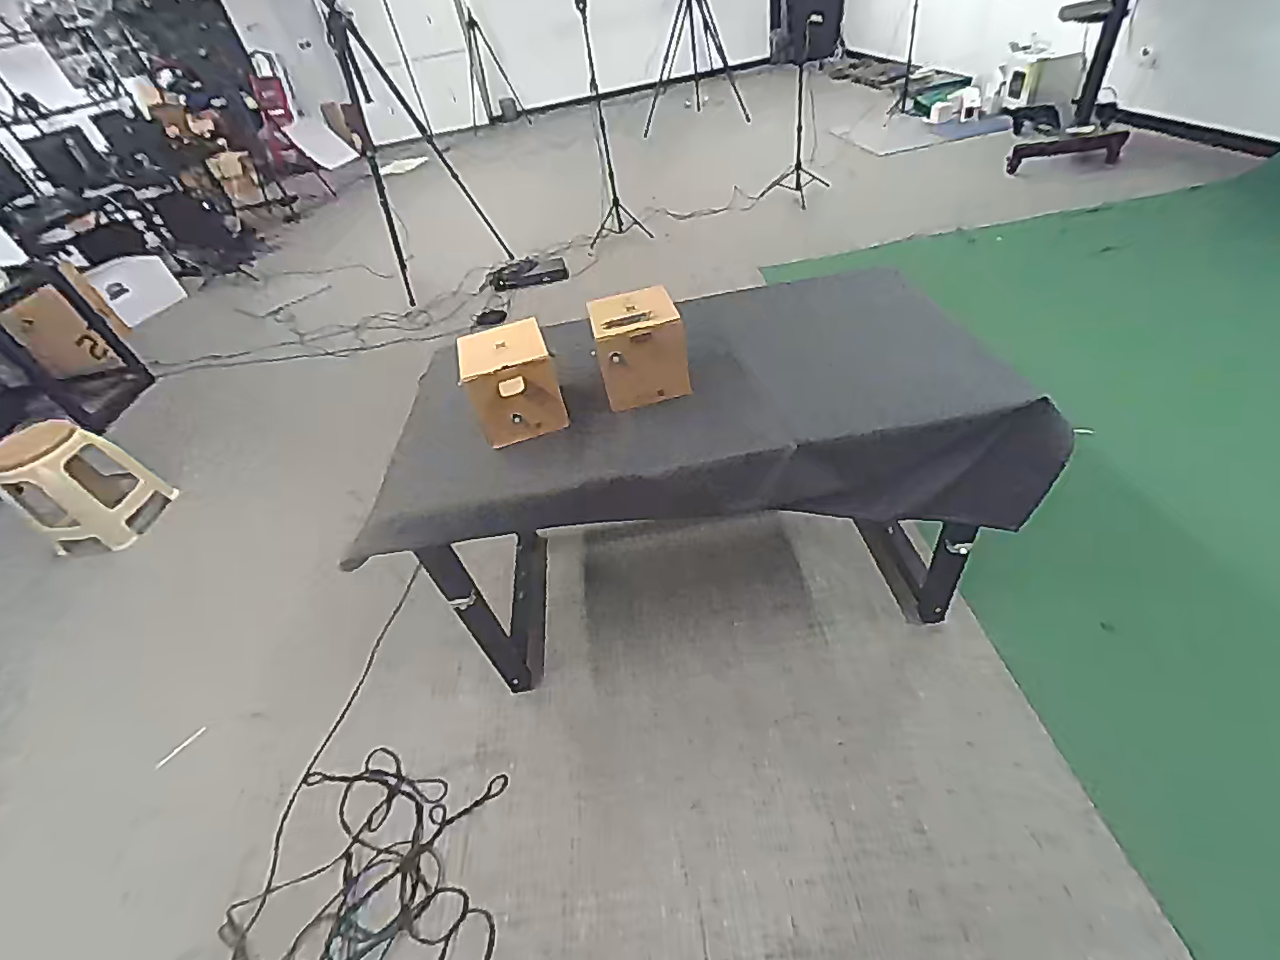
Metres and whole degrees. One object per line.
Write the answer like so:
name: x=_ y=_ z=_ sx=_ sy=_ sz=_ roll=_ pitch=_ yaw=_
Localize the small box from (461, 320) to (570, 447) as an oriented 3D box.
small box: x=-0.251 y=-0.195 z=1.092 sx=0.168 sy=0.176 sz=0.179 roll=-18 pitch=43 yaw=-7
